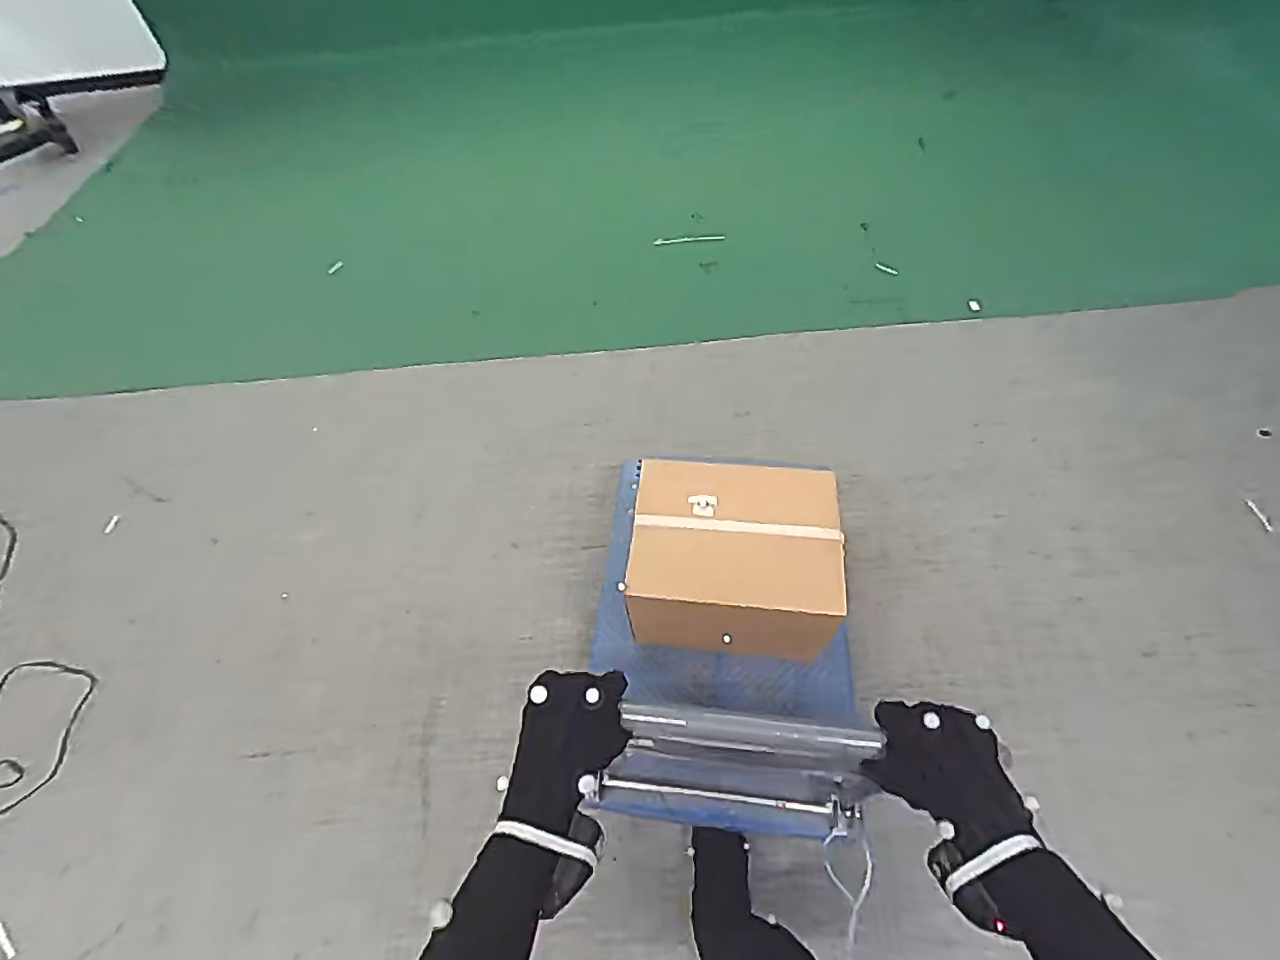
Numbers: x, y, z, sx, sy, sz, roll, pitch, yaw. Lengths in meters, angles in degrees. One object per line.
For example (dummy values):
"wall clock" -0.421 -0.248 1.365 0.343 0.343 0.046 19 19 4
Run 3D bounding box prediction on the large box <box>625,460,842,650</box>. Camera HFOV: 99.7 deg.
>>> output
"large box" 0.198 0.173 1.201 0.408 0.320 0.320 3 57 8
